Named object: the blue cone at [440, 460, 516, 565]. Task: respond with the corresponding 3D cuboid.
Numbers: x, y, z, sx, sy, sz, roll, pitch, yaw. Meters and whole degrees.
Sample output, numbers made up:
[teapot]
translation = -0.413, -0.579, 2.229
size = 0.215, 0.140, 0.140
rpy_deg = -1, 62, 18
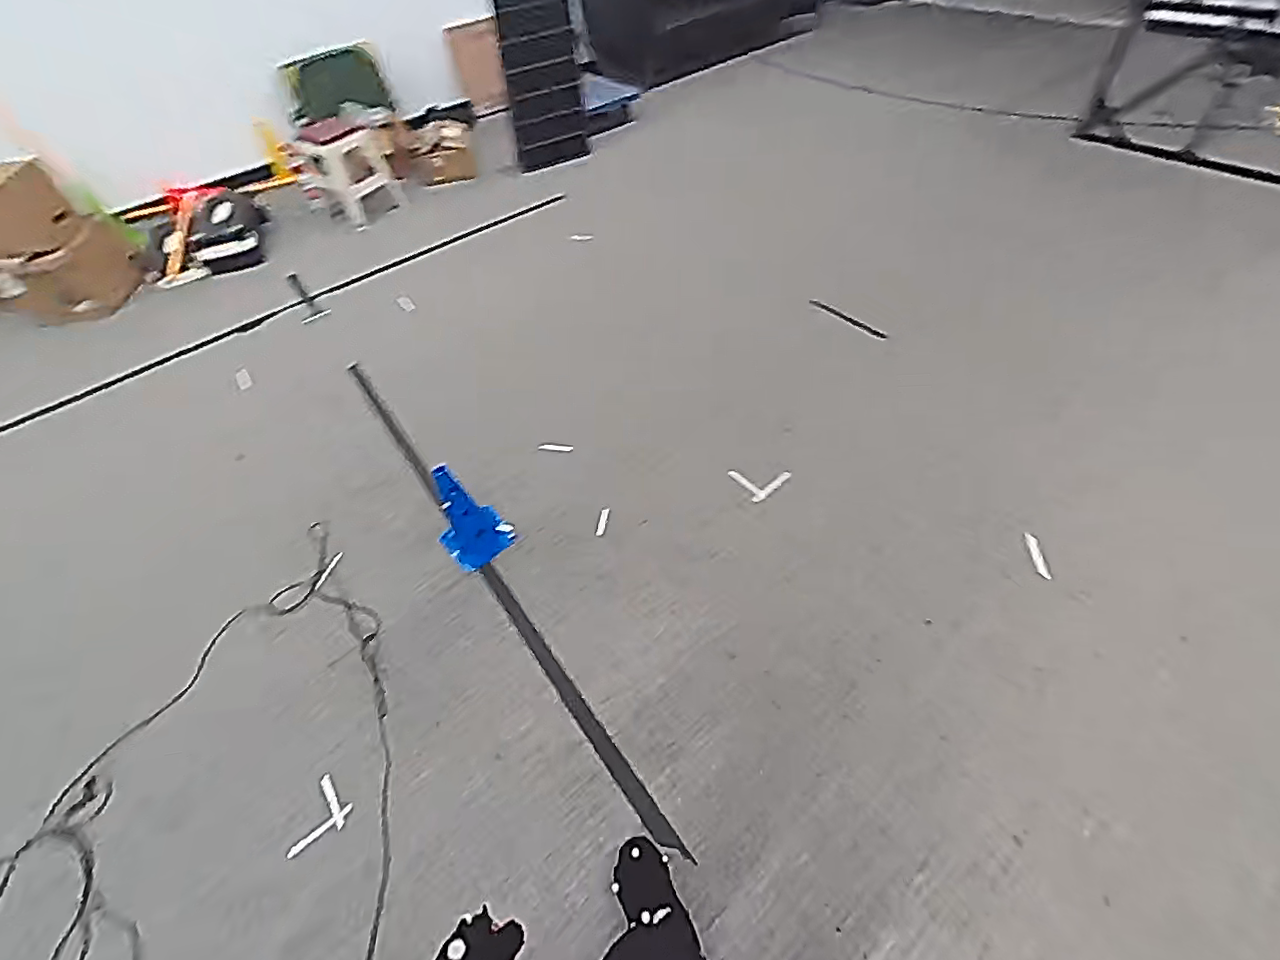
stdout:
[blue cone]
translation = -0.544, 0.079, 1.671
size = 0.192, 0.380, 0.193
rpy_deg = -35, 57, -23
